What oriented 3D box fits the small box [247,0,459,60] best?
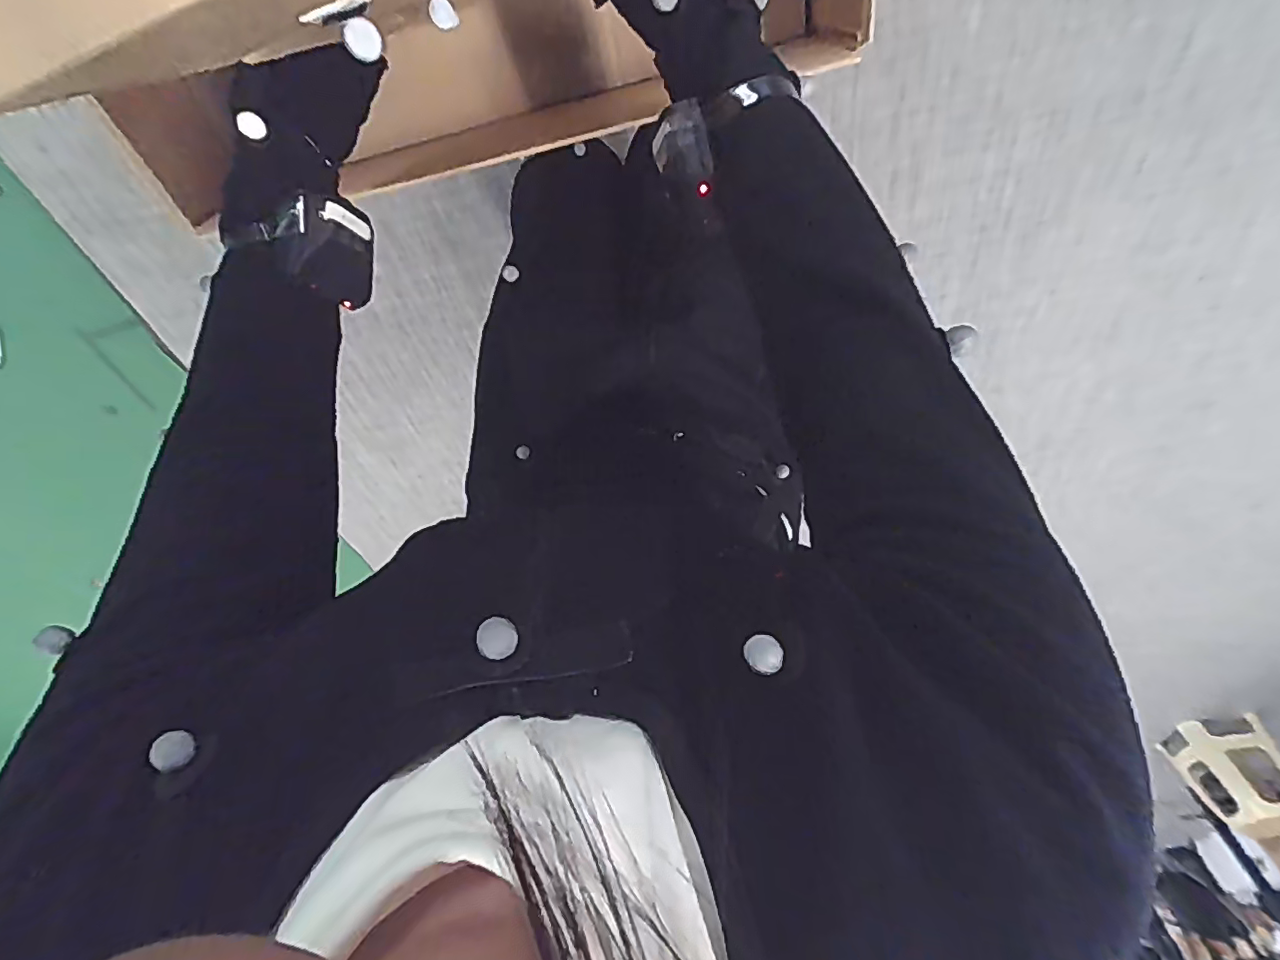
[{"bbox_3d":[-0.148,-0.341,0.259,0.168,0.176,0.179,-15,132,11],"label":"small box"}]

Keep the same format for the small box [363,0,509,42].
[{"bbox_3d":[-0.153,-0.448,0.383,0.168,0.176,0.179,-15,130,12],"label":"small box"}]

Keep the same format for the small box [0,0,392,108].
[{"bbox_3d":[-0.137,-0.233,0.138,0.168,0.176,0.179,-14,132,12],"label":"small box"}]
